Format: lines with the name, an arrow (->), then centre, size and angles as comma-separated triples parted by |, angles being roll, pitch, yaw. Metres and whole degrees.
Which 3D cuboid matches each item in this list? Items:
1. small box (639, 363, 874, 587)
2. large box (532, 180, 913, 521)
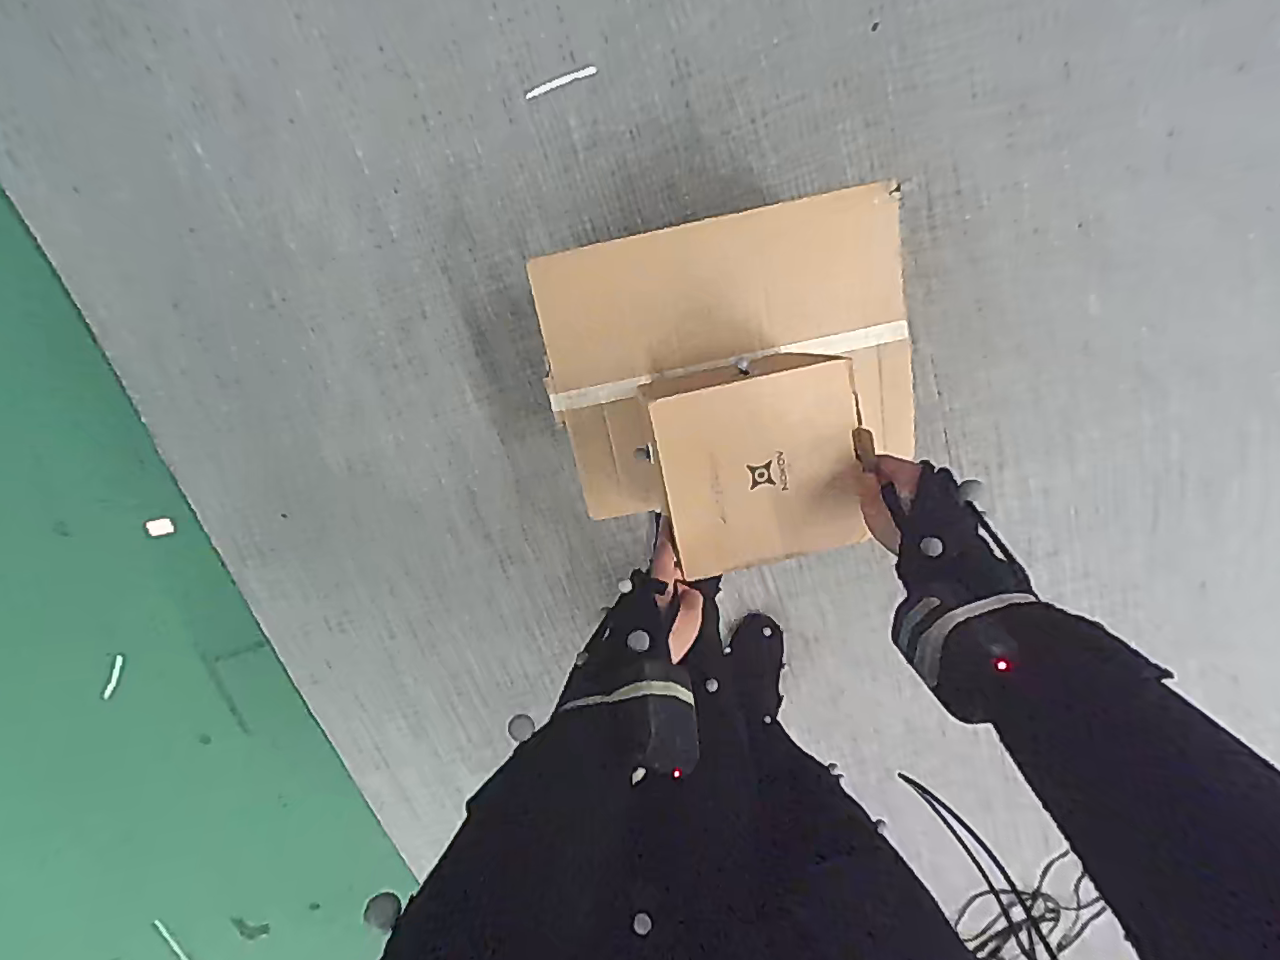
small box -> 0.103, -0.018, 0.536 | 0.179, 0.176, 0.168 | -13, 104, 0
large box -> 0.101, -0.174, 0.765 | 0.408, 0.320, 0.320 | -12, 107, 2
